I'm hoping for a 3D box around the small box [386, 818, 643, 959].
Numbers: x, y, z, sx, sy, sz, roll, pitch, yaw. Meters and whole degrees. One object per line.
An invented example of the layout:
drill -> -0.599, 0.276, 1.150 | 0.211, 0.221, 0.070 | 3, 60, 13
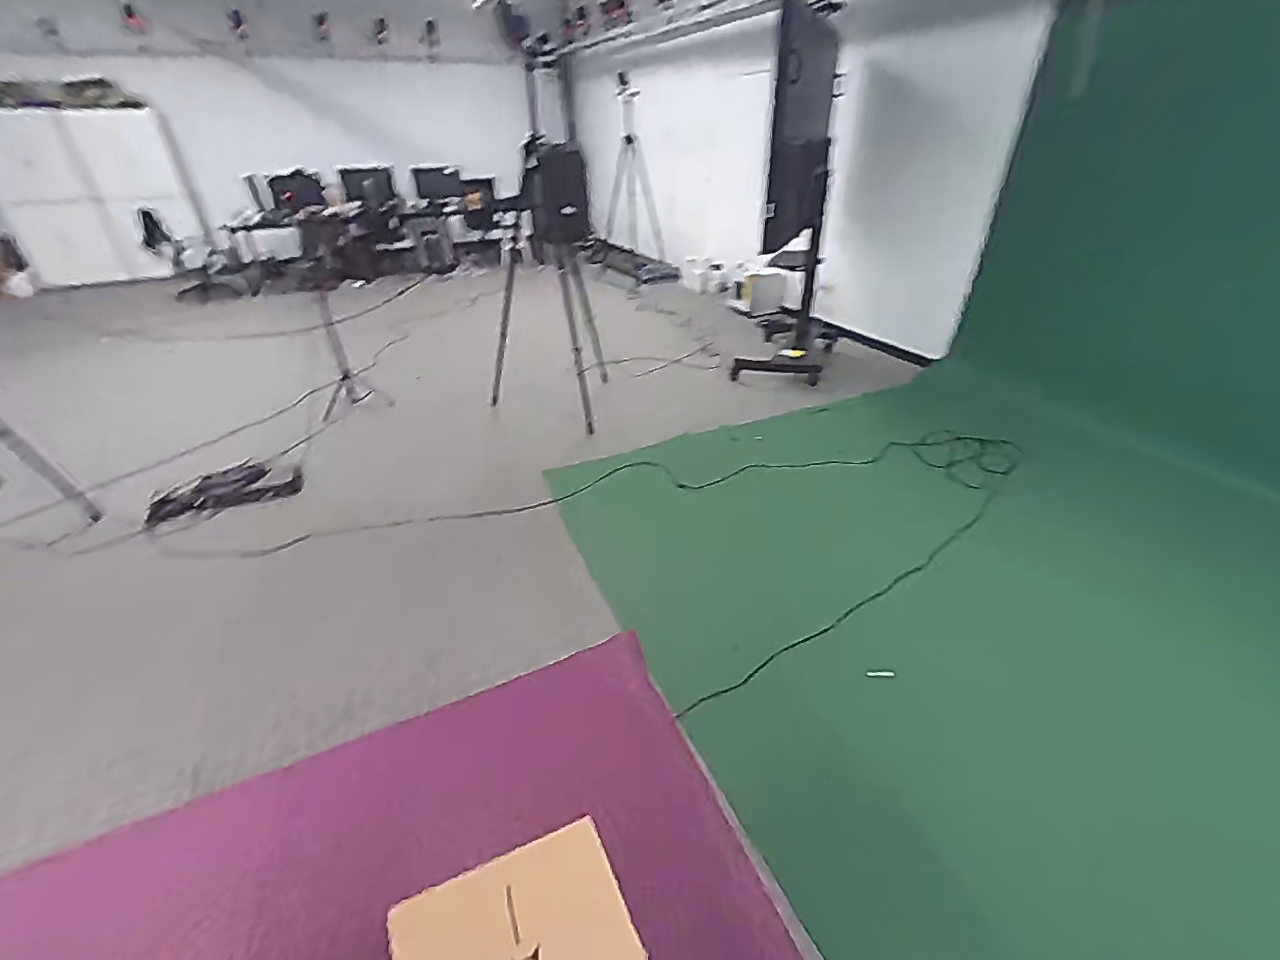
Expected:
small box -> -0.091, 0.418, 0.421 | 0.168, 0.176, 0.179 | -9, 39, -28
